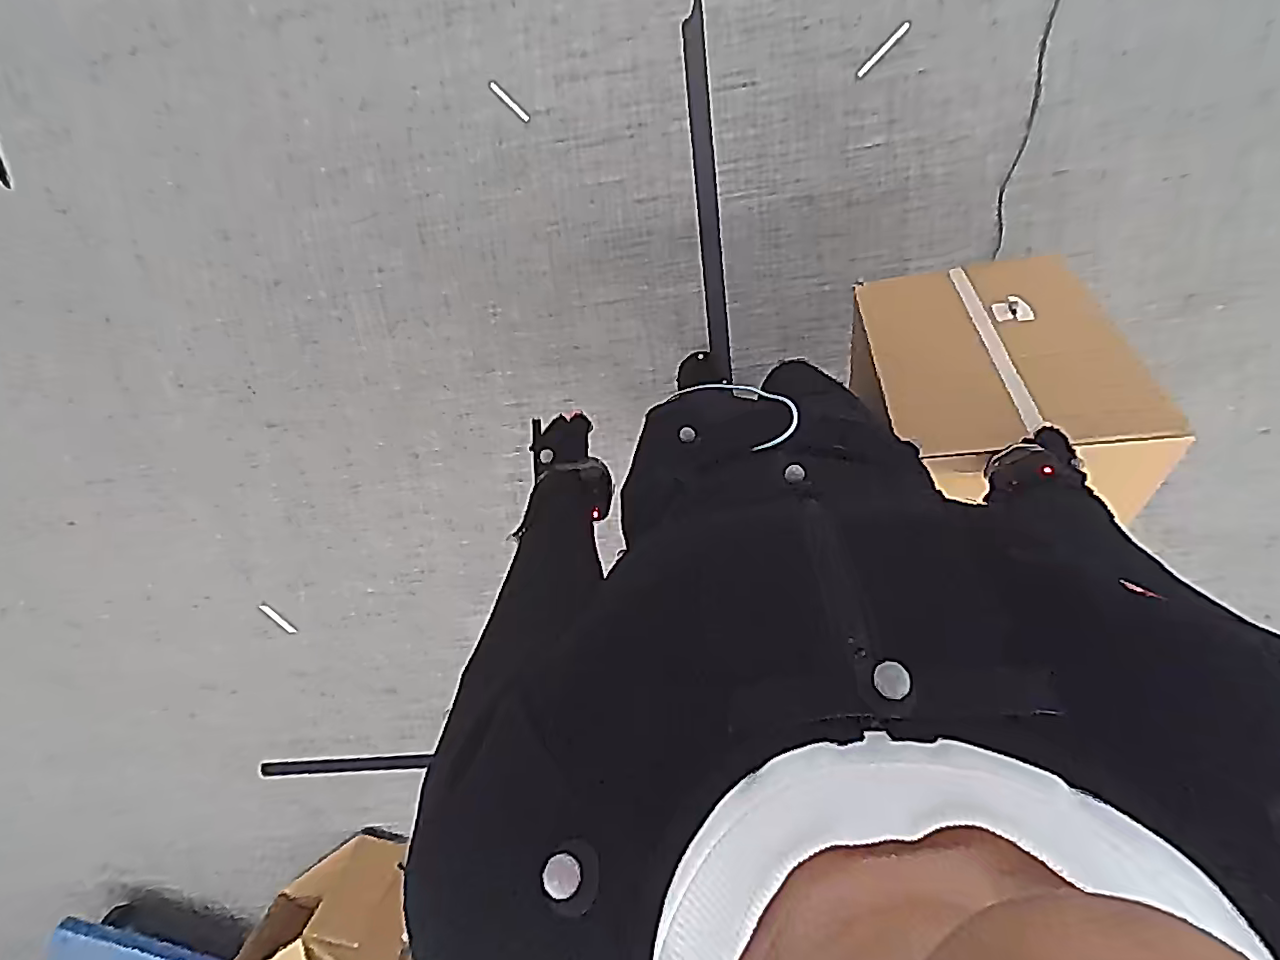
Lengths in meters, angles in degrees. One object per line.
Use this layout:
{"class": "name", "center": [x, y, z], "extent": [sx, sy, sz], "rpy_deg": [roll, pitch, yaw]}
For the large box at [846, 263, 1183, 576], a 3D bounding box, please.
{"class": "large box", "center": [0.541, -0.094, 0.899], "extent": [0.320, 0.408, 0.320], "rpy_deg": [-4, 139, 13]}
